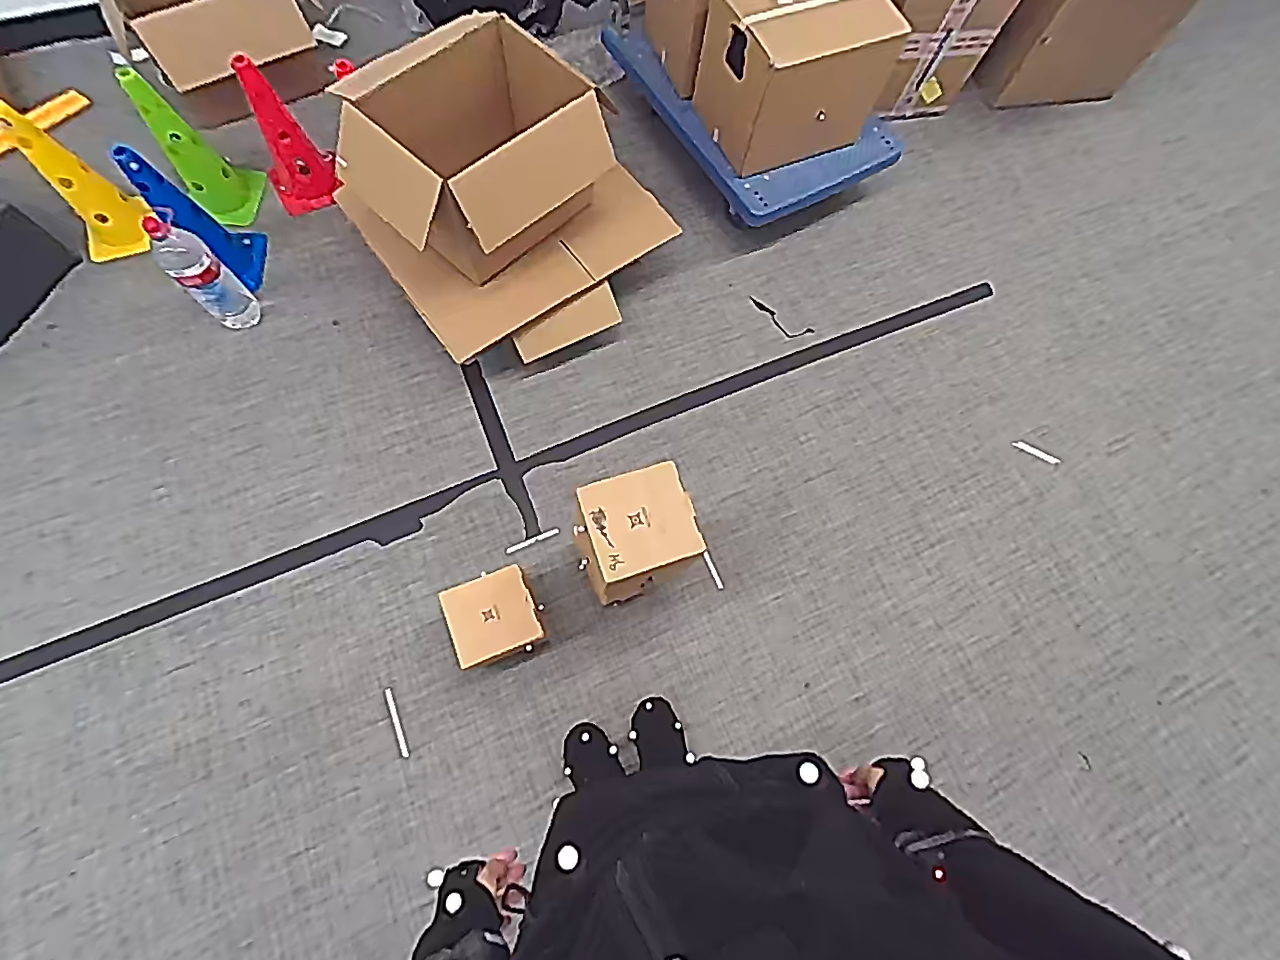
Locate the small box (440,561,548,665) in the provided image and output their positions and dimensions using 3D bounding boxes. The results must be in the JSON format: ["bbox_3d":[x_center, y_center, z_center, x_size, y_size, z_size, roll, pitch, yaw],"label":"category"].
[{"bbox_3d":[-0.316,0.299,1.197,0.179,0.176,0.168,-21,75,-12],"label":"small box"}]

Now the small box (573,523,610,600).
[{"bbox_3d":[-0.048,0.171,1.264,0.168,0.176,0.179,-22,75,-12],"label":"small box"}]

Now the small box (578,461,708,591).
[{"bbox_3d":[-0.005,0.087,0.948,0.179,0.176,0.168,-16,74,-12],"label":"small box"}]

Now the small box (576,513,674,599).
[{"bbox_3d":[-0.022,0.134,1.104,0.179,0.176,0.168,-19,76,-12],"label":"small box"}]
